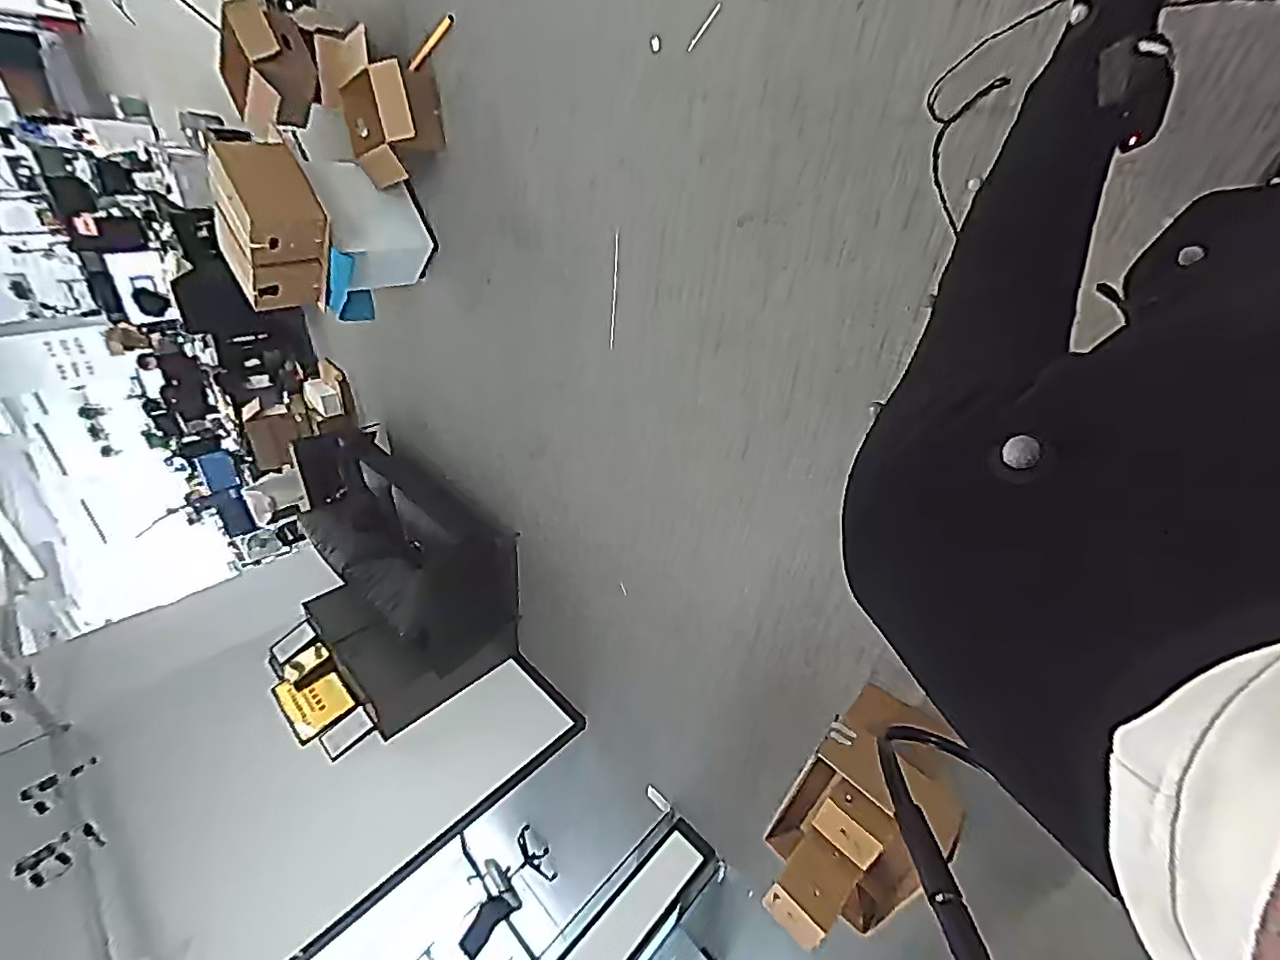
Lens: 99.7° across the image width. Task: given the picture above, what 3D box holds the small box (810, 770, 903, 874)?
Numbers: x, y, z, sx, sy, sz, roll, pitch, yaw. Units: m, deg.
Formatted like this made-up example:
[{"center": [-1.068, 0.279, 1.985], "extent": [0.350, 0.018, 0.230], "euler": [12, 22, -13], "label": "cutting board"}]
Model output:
[{"center": [0.639, 0.996, 1.596], "extent": [0.179, 0.176, 0.168], "euler": [32, 131, 31], "label": "small box"}]

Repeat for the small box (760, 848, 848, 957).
[{"center": [0.501, 1.279, 1.645], "extent": [0.179, 0.176, 0.168], "euler": [34, 130, 29], "label": "small box"}]

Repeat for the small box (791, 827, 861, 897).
[{"center": [0.614, 1.222, 1.749], "extent": [0.179, 0.176, 0.168], "euler": [36, 132, 29], "label": "small box"}]
